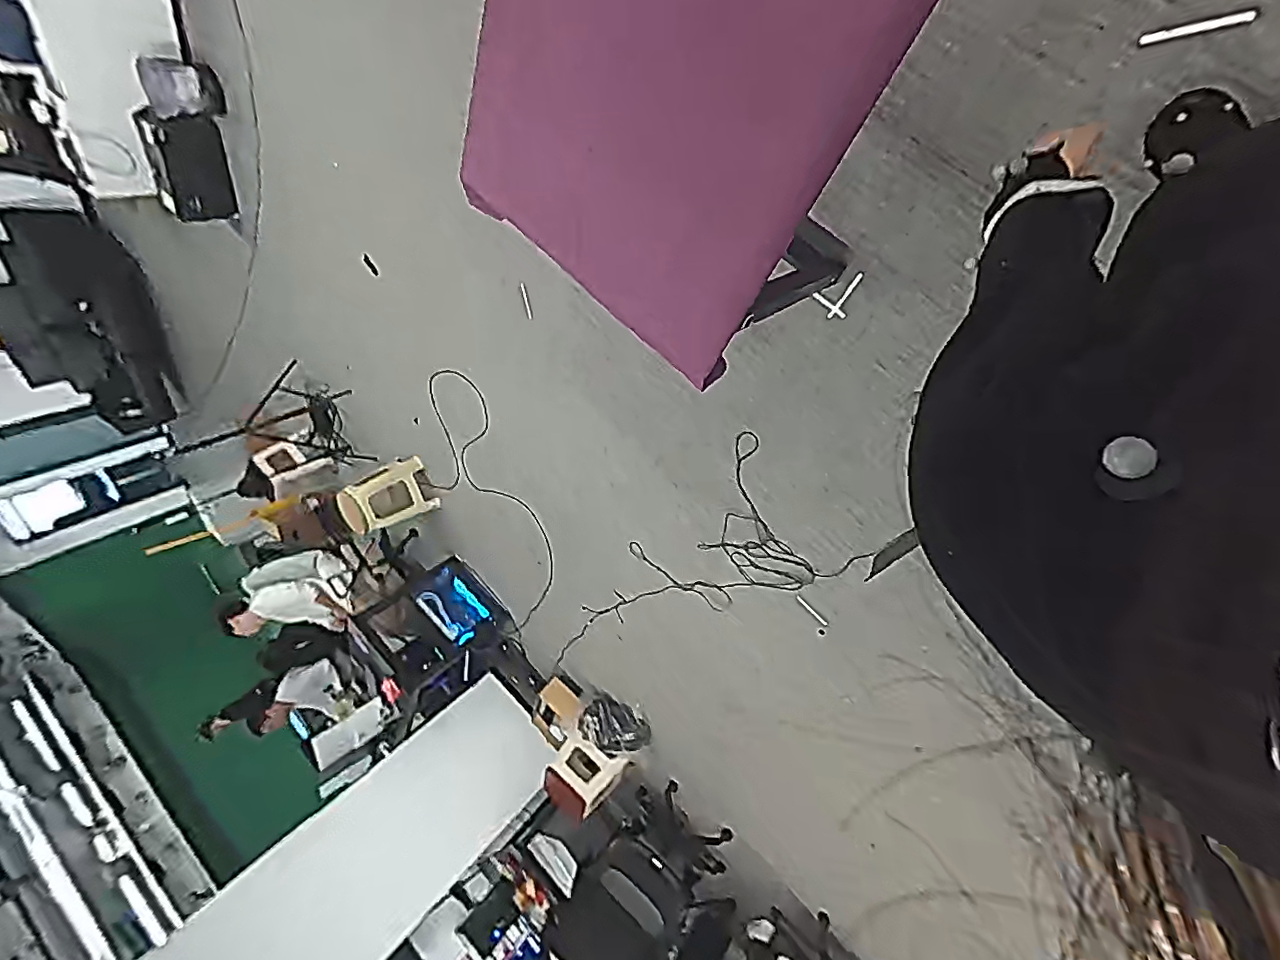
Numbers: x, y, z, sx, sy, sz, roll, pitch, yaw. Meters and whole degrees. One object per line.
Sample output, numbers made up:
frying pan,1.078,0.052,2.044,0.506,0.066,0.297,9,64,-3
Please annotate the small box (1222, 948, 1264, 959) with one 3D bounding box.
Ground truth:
small box,1.361,1.163,1.144,0.179,0.176,0.168,10,121,40
